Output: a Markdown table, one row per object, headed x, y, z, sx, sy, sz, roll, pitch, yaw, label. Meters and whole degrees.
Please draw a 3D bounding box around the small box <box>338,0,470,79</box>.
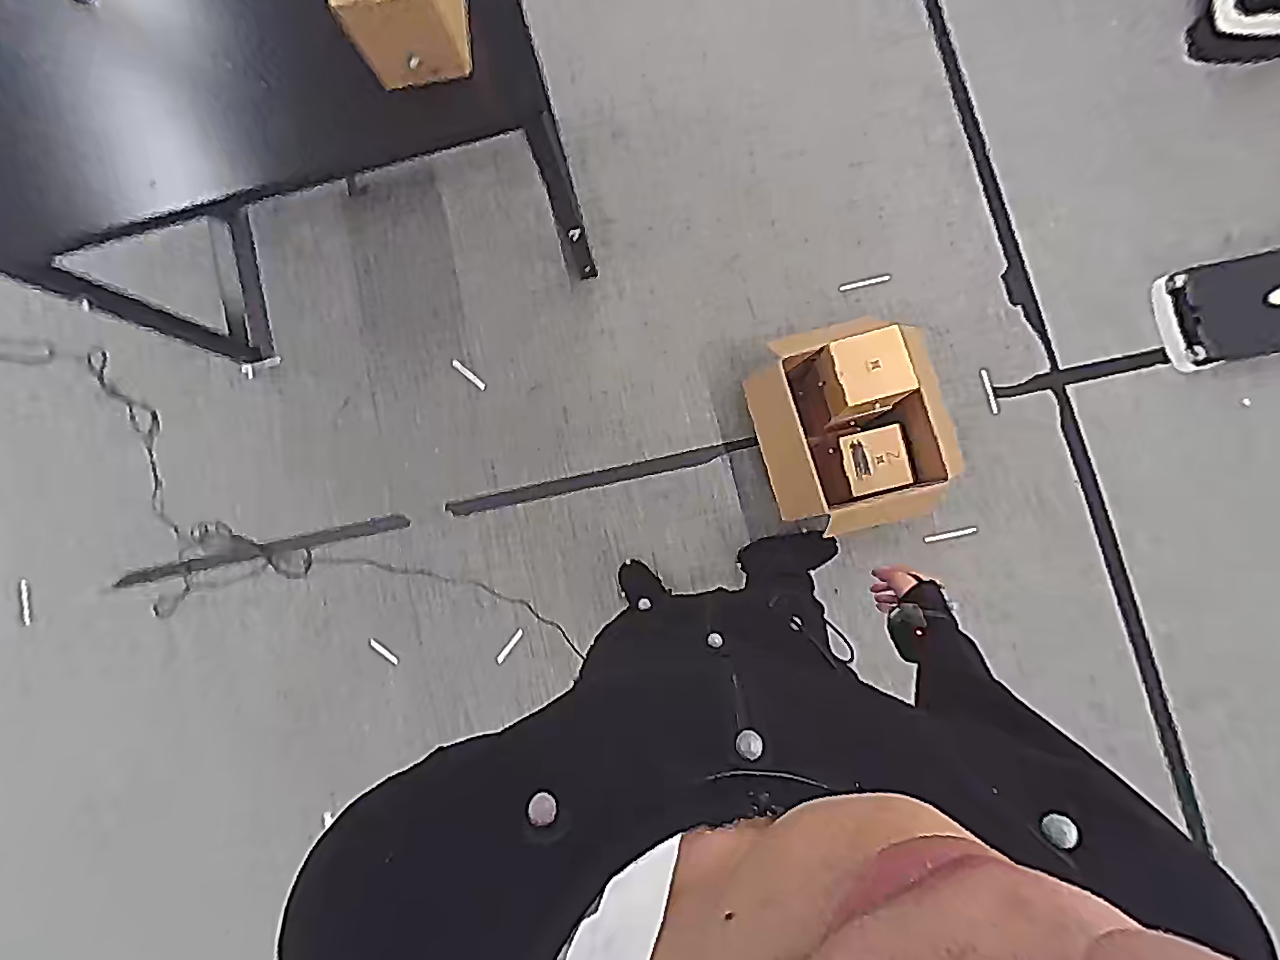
| x | y | z | sx | sy | sz | roll | pitch | yaw | label |
| --- | --- | --- | --- | --- | --- | --- | --- | --- | --- |
| -0.404 | -0.841 | 0.926 | 0.168 | 0.176 | 0.179 | -6 | 85 | 4 | small box |
